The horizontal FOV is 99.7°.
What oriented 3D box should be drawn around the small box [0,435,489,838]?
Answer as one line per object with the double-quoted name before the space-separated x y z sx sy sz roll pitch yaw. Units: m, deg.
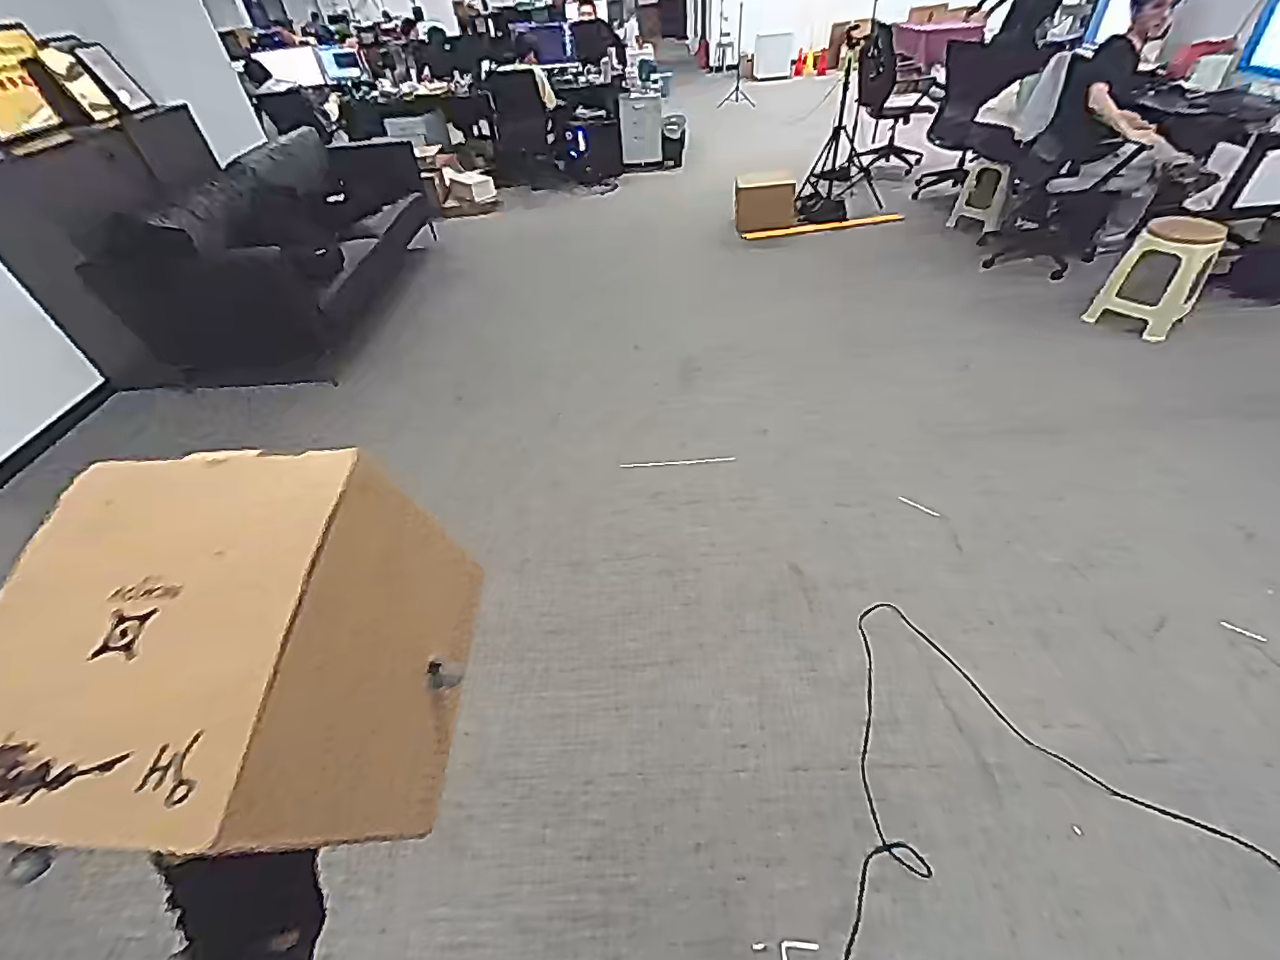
"small box" -0.204 0.094 0.312 0.168 0.176 0.179 -2 59 10
